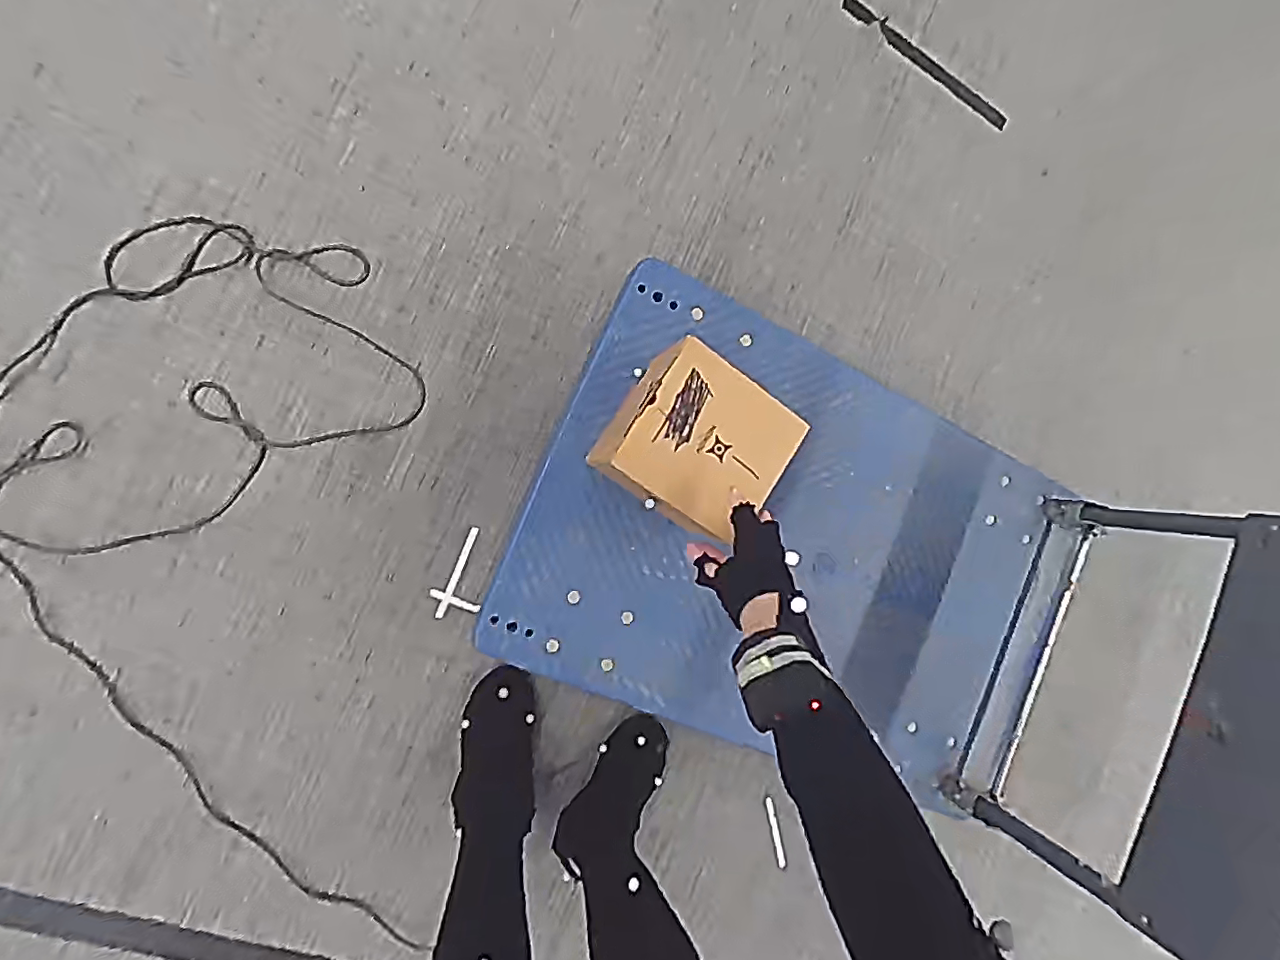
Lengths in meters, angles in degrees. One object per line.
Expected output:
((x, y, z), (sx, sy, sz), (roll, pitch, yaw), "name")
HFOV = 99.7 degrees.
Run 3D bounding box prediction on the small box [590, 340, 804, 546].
((0.057, -0.040, 0.666), (0.179, 0.176, 0.168), (35, 84, -13), "small box")
